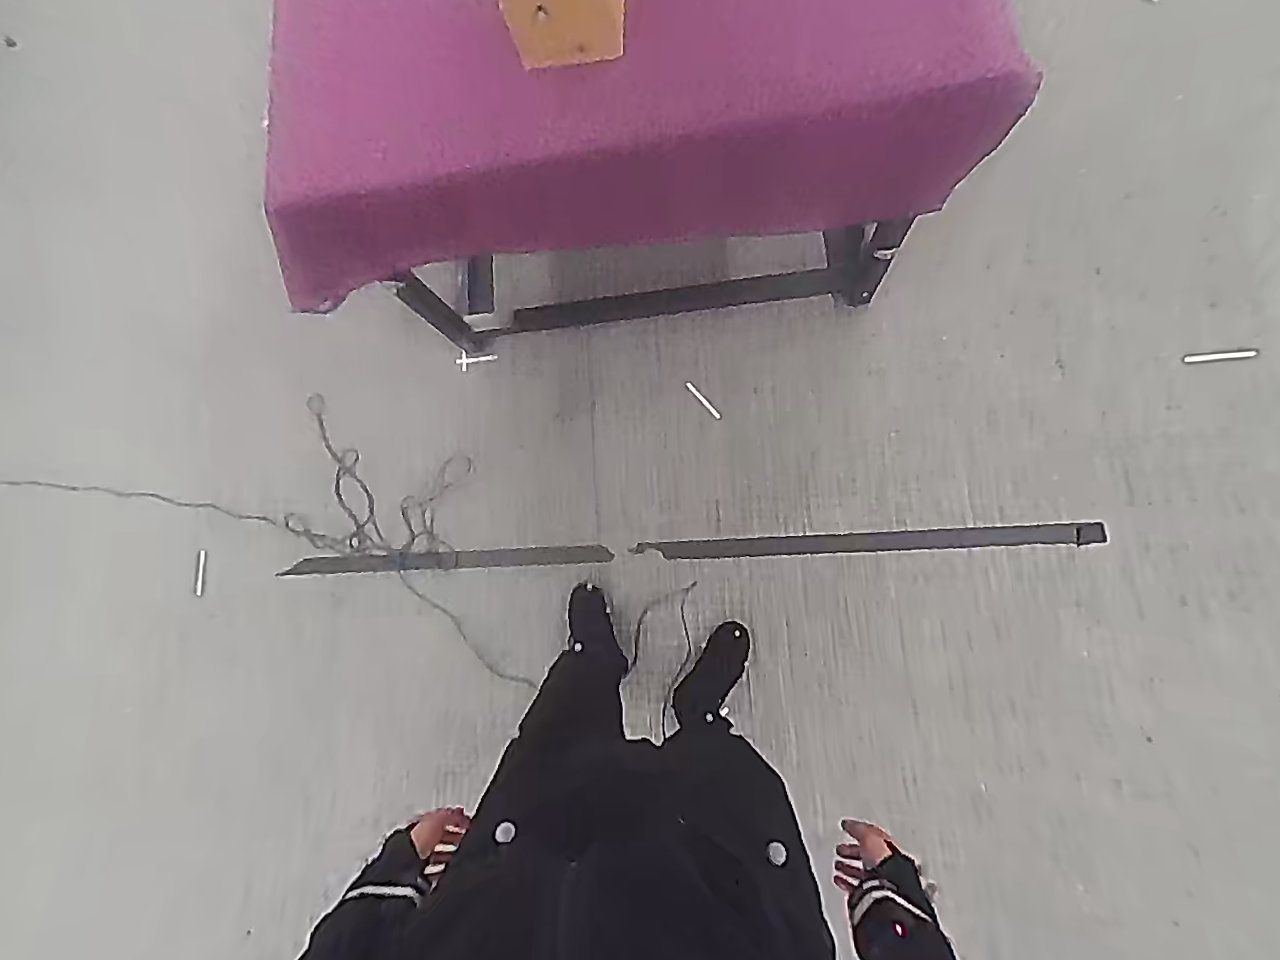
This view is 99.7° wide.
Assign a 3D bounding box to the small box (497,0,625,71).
[{"bbox_3d":[-0.117,-0.770,0.829,0.168,0.176,0.179,-1,80,9],"label":"small box"}]
